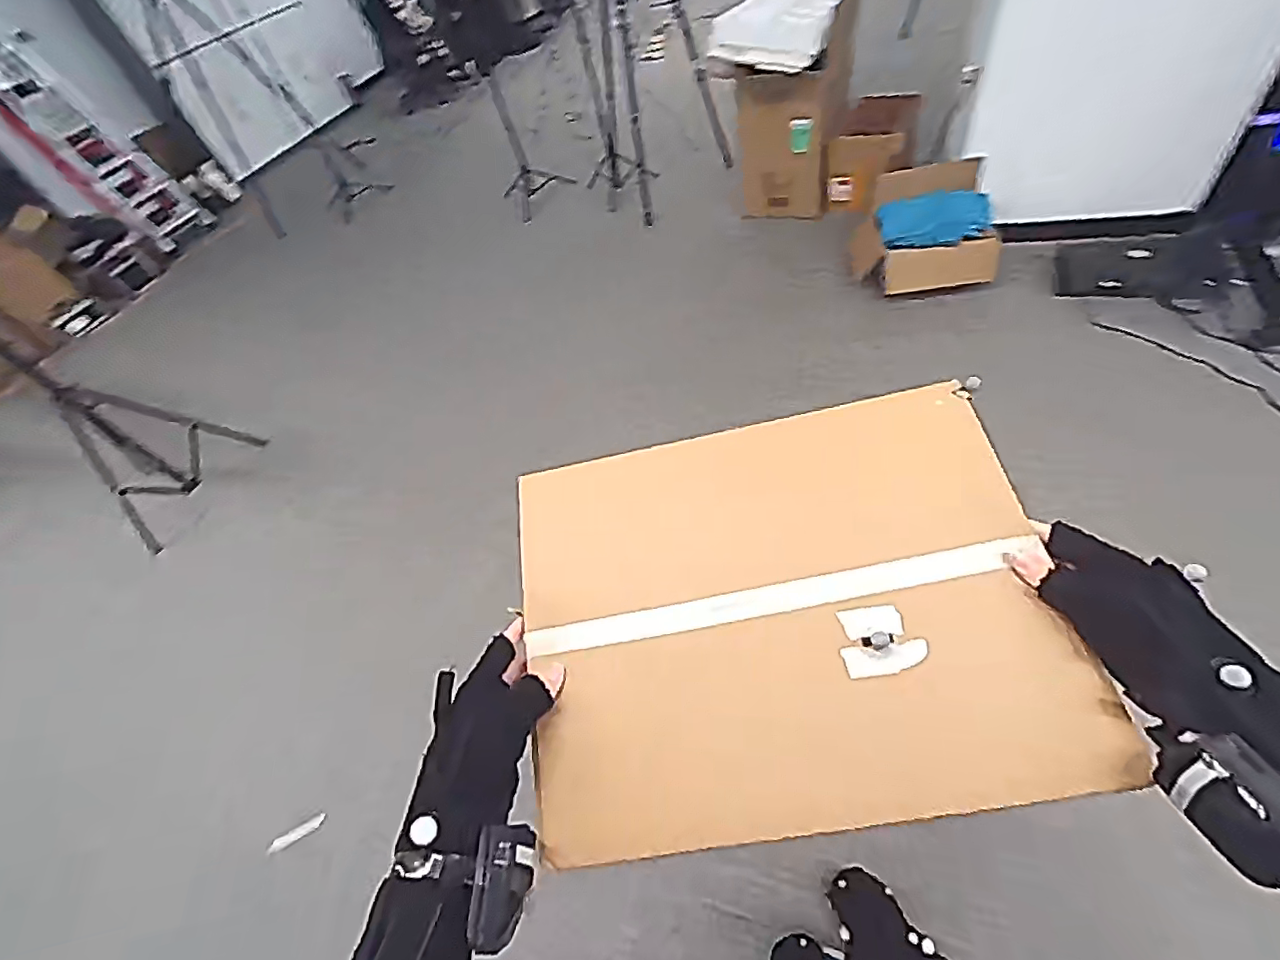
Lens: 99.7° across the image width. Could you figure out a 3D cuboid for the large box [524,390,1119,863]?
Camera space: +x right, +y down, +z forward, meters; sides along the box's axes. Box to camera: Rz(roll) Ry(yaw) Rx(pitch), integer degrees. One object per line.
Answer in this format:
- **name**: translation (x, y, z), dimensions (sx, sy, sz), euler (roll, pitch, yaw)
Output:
- **large box**: translation (0.129, 0.160, 0.573), dimensions (0.408, 0.320, 0.320), euler (-13, 64, 5)
